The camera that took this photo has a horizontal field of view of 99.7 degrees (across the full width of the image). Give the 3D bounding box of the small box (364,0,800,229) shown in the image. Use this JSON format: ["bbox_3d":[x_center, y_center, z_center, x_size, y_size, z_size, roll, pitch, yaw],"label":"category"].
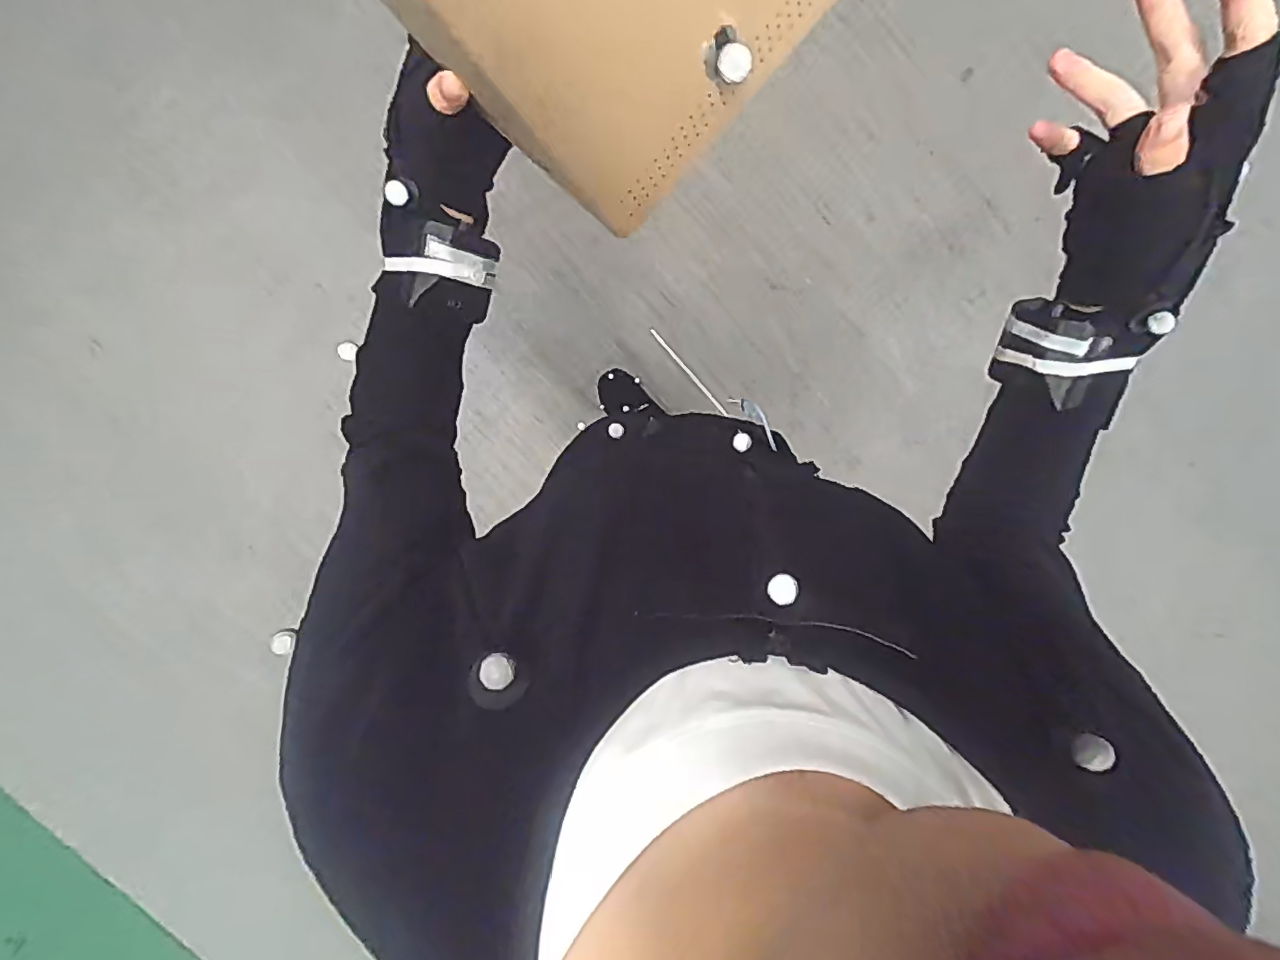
[{"bbox_3d":[-0.039,-0.255,0.229,0.179,0.176,0.168,-46,72,11],"label":"small box"}]
